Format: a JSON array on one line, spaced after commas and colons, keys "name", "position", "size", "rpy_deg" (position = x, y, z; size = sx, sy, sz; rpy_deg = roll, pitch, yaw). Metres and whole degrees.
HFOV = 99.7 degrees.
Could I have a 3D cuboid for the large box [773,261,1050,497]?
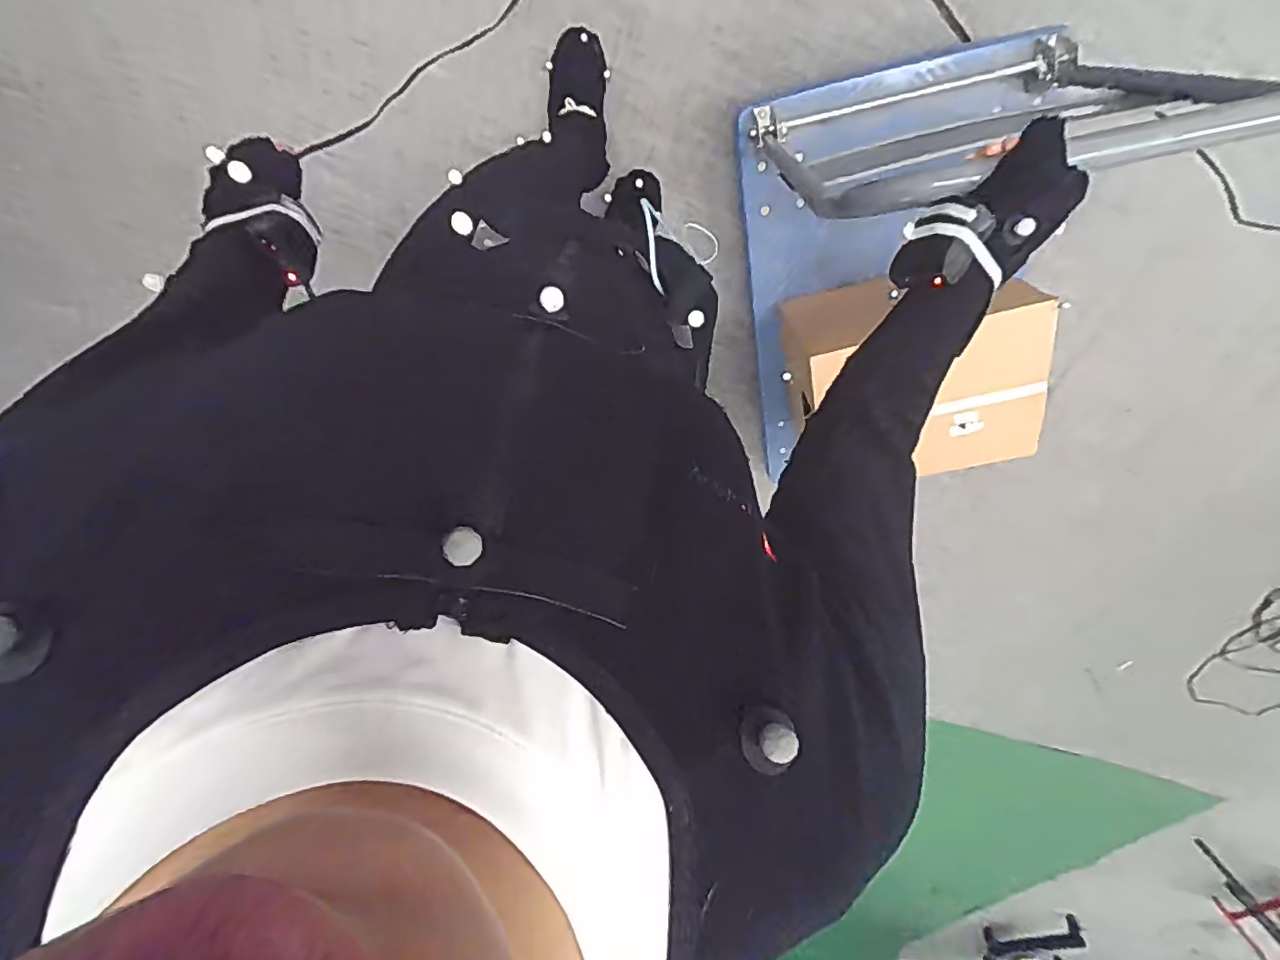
[{"name": "large box", "position": [0.522, -0.213, 1.117], "size": [0.408, 0.320, 0.320], "rpy_deg": [-13, 125, 9]}]
